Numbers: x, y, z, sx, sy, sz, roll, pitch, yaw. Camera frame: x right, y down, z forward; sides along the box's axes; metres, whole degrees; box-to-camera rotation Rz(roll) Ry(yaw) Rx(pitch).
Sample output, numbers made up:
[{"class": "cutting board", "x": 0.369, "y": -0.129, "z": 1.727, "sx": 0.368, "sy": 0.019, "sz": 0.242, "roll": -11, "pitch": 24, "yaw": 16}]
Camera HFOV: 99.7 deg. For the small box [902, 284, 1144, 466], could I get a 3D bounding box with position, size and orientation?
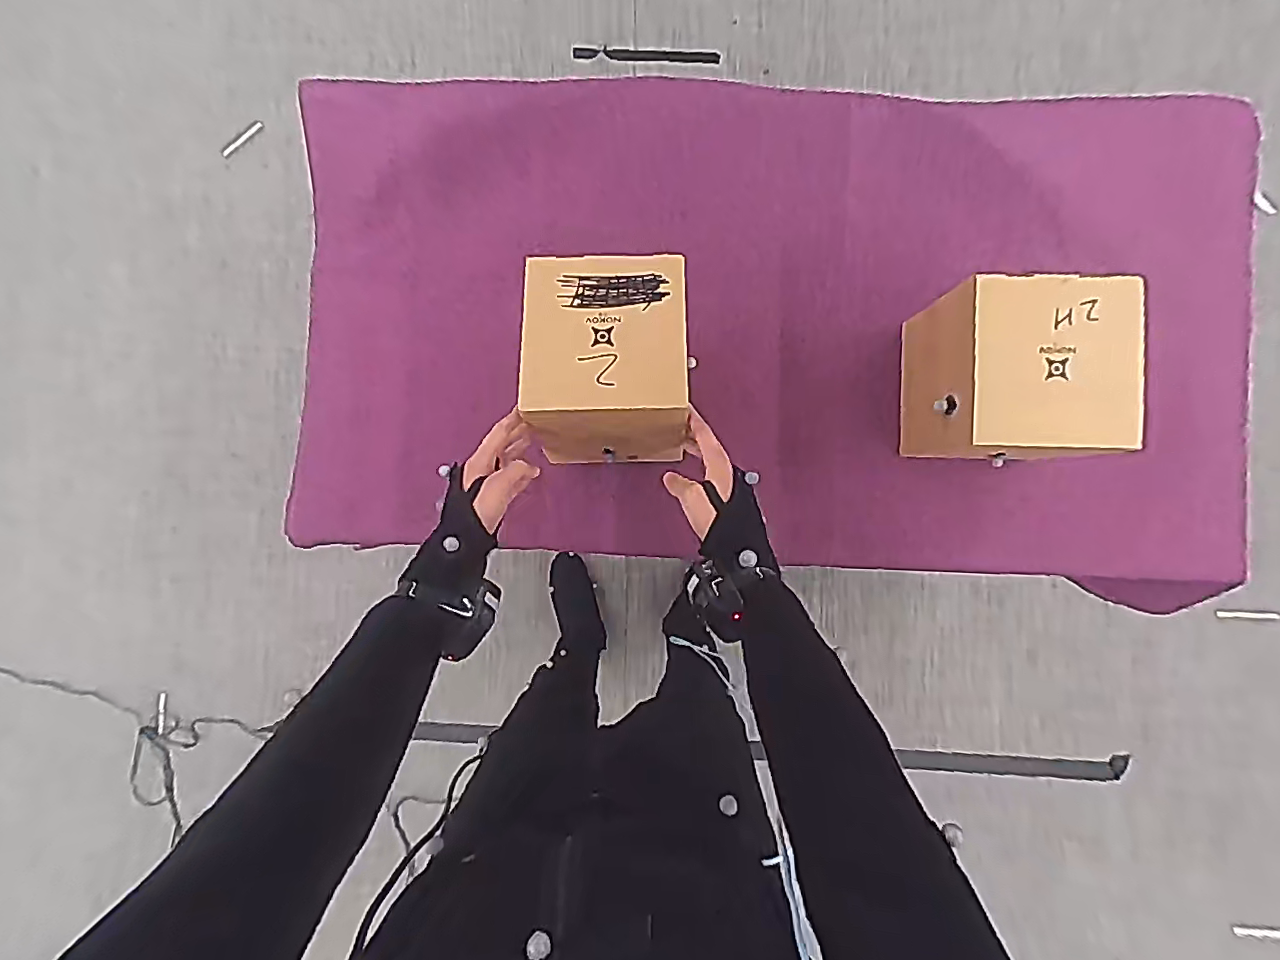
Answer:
[{"class": "small box", "x": 0.420, "y": -0.107, "z": 0.622, "sx": 0.168, "sy": 0.176, "sz": 0.179, "roll": 2, "pitch": 89, "yaw": 2}]
